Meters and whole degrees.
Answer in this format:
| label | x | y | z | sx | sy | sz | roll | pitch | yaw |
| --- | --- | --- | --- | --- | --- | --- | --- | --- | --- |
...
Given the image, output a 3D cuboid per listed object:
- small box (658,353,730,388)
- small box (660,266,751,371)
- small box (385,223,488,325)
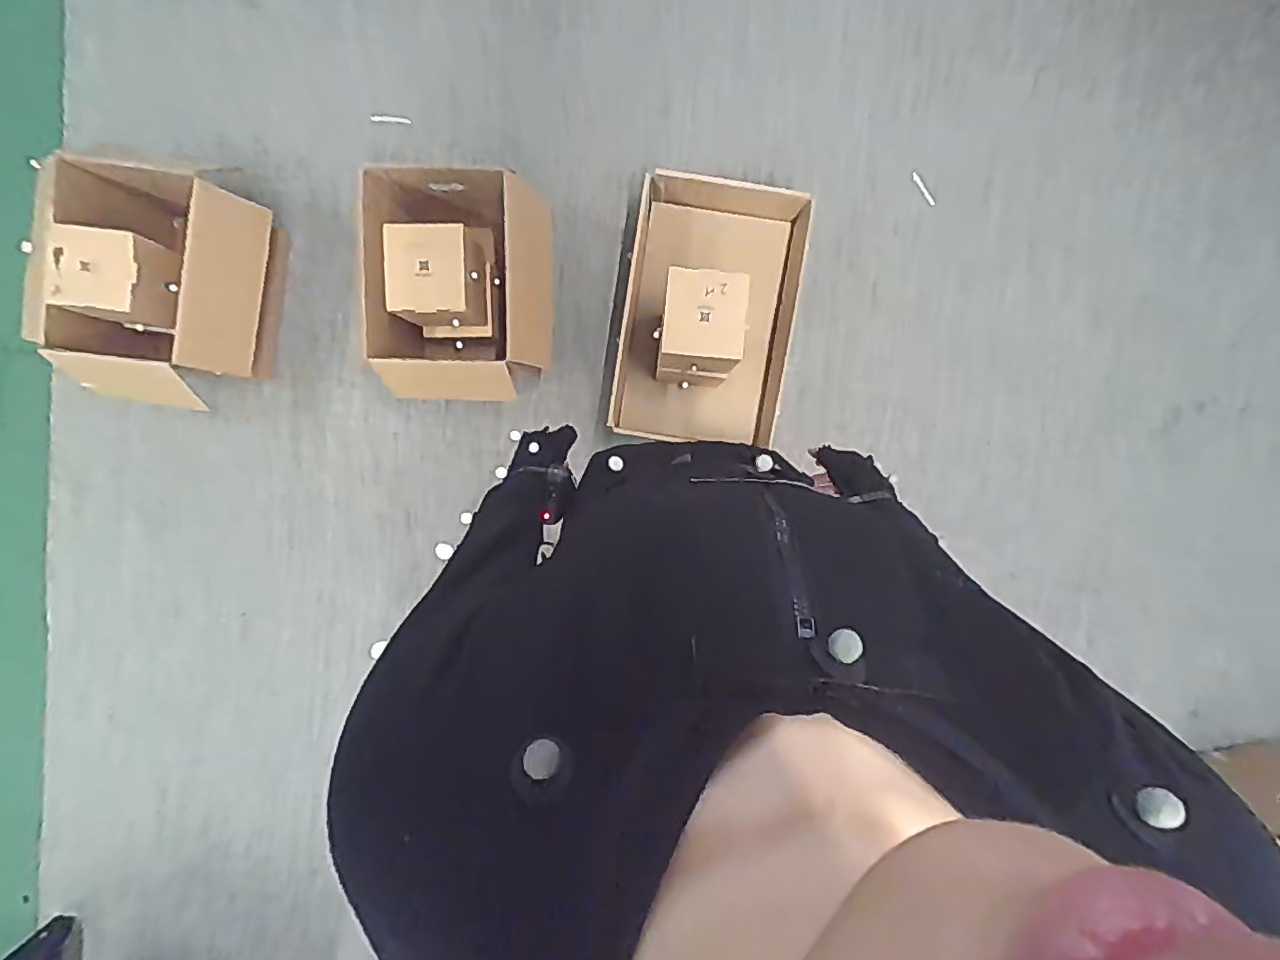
| label | x | y | z | sx | sy | sz | roll | pitch | yaw |
| --- | --- | --- | --- | --- | --- | --- | --- | --- | --- |
| small box | 0.135 | -0.331 | 1.316 | 0.168 | 0.176 | 0.179 | 8 | 92 | 0 |
| small box | 0.132 | -0.334 | 1.151 | 0.168 | 0.176 | 0.179 | 5 | 92 | -1 |
| small box | -0.436 | -0.441 | 1.182 | 0.168 | 0.176 | 0.179 | 0 | 95 | 0 |
